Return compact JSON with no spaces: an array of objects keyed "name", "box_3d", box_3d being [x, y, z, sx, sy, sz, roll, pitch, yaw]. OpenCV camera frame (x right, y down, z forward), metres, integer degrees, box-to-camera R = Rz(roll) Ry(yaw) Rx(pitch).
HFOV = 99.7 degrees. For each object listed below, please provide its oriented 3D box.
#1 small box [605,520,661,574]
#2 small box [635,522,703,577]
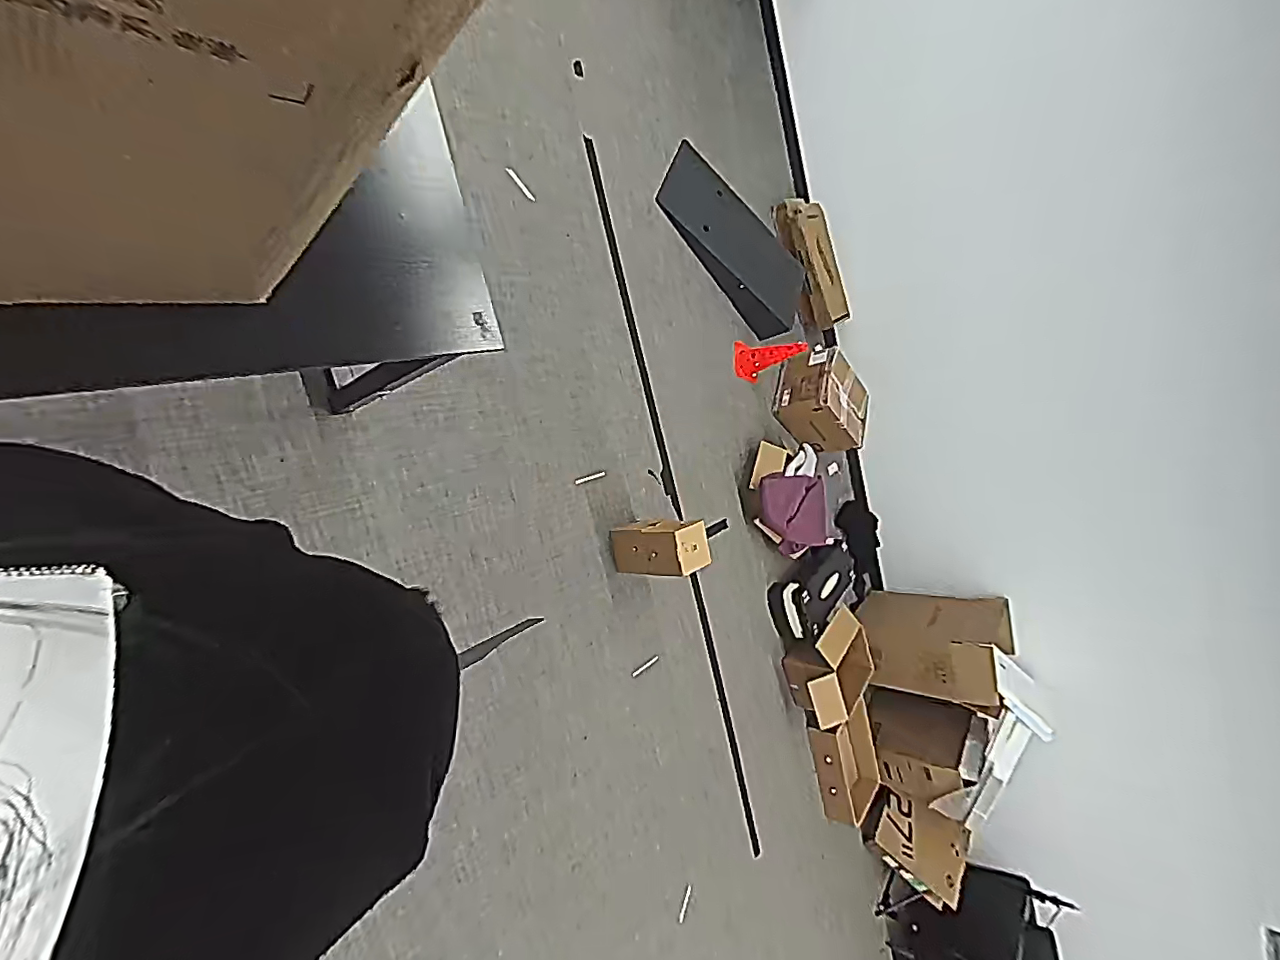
[{"name":"small box","box_3d":[-0.016,0.259,2.109,0.168,0.176,0.179,-15,97,-46]},{"name":"small box","box_3d":[0.108,0.252,2.001,0.179,0.176,0.168,-15,96,-46]}]
